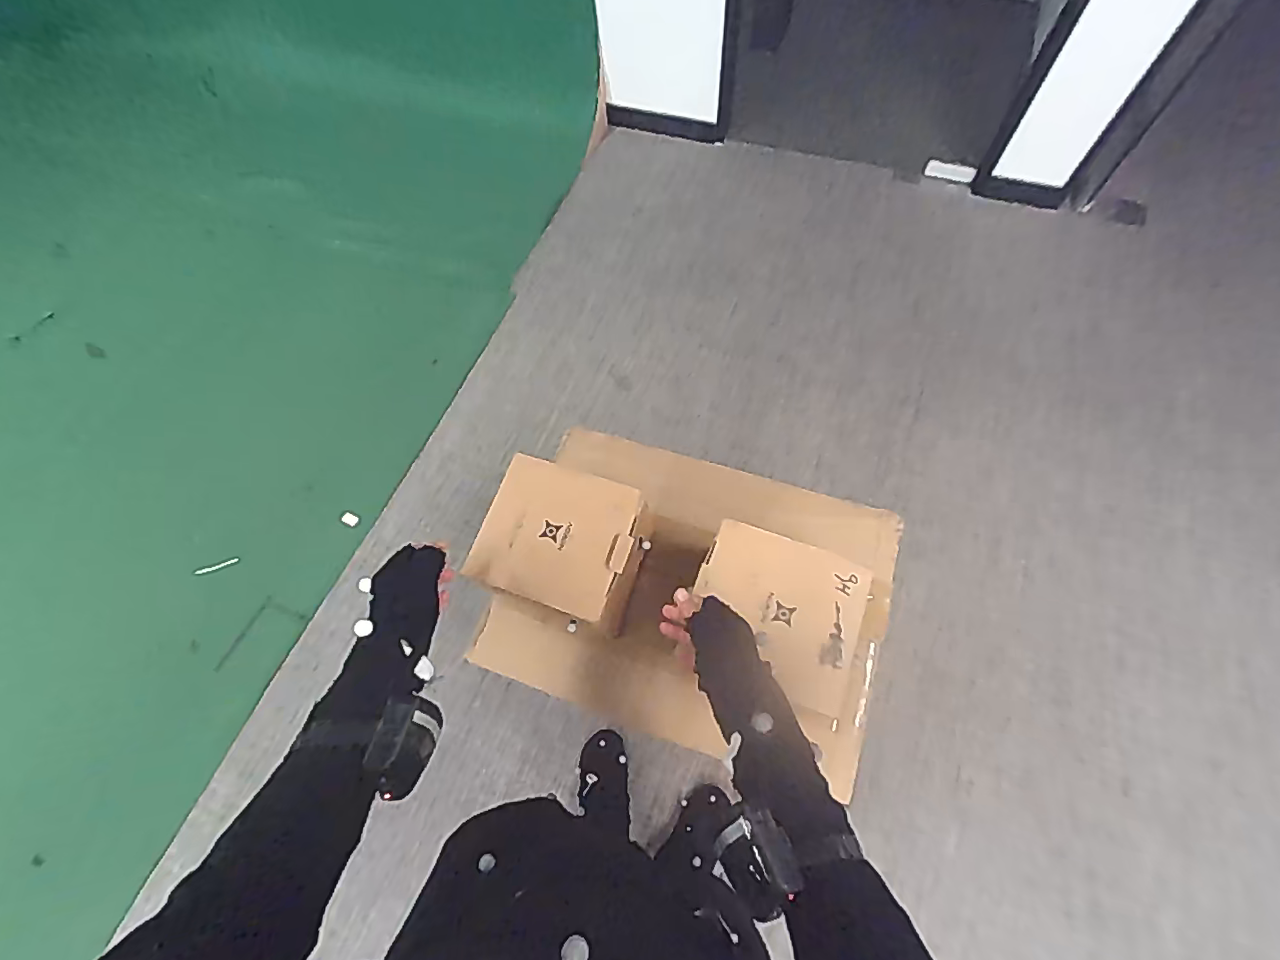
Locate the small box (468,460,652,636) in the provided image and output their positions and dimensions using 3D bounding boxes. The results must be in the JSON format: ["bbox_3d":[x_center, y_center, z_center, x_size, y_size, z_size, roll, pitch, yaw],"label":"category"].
[{"bbox_3d":[-0.089,0.098,0.716,0.179,0.176,0.168,16,69,12],"label":"small box"}]

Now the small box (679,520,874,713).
[{"bbox_3d":[0.157,0.172,0.664,0.179,0.176,0.168,18,71,12],"label":"small box"}]
